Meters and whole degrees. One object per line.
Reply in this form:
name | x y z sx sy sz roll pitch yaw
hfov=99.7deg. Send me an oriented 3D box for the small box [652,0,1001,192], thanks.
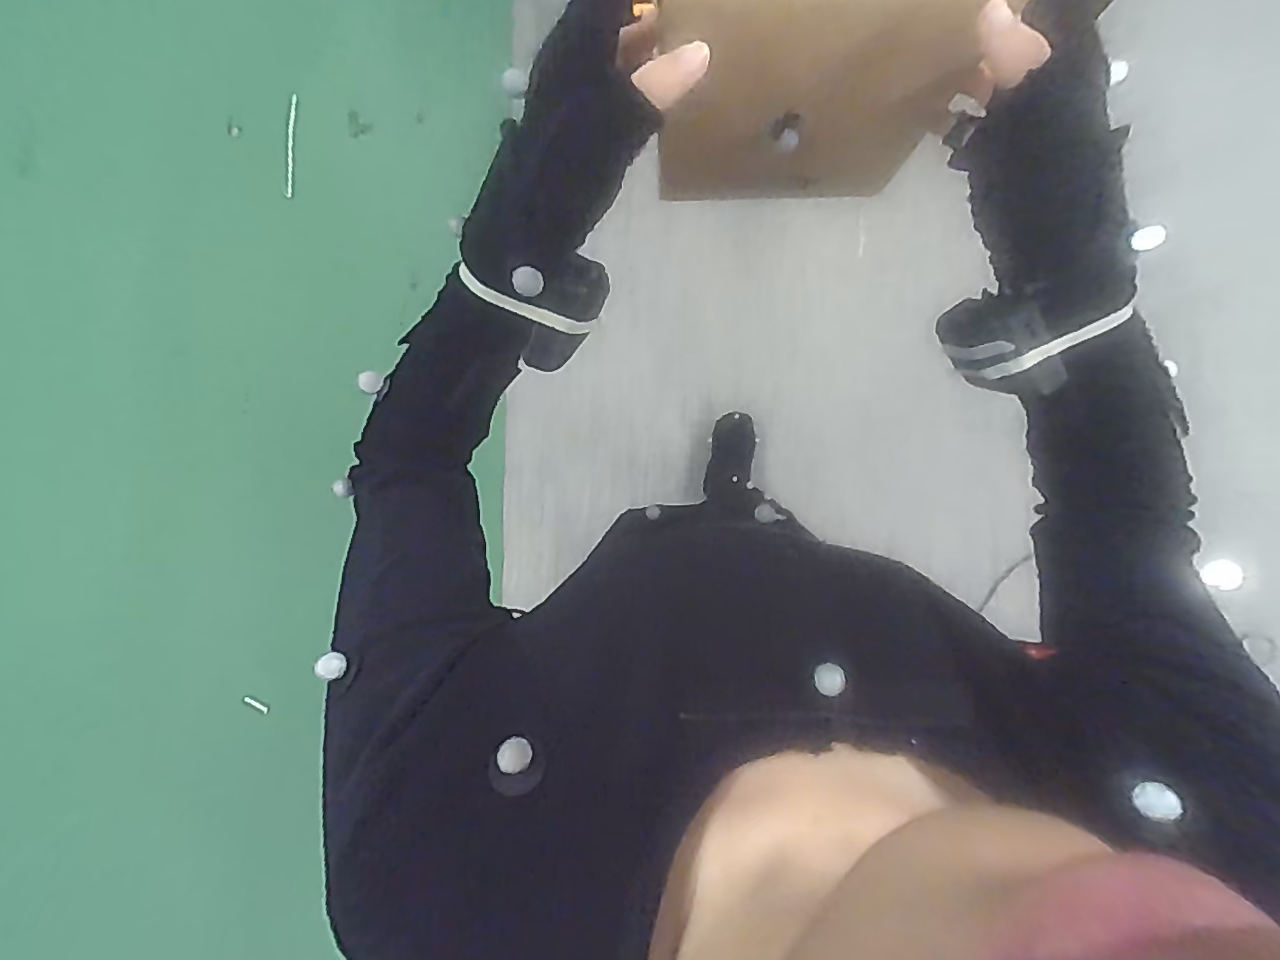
small box | 0.091 -0.298 0.325 0.168 0.176 0.179 -1 86 1
